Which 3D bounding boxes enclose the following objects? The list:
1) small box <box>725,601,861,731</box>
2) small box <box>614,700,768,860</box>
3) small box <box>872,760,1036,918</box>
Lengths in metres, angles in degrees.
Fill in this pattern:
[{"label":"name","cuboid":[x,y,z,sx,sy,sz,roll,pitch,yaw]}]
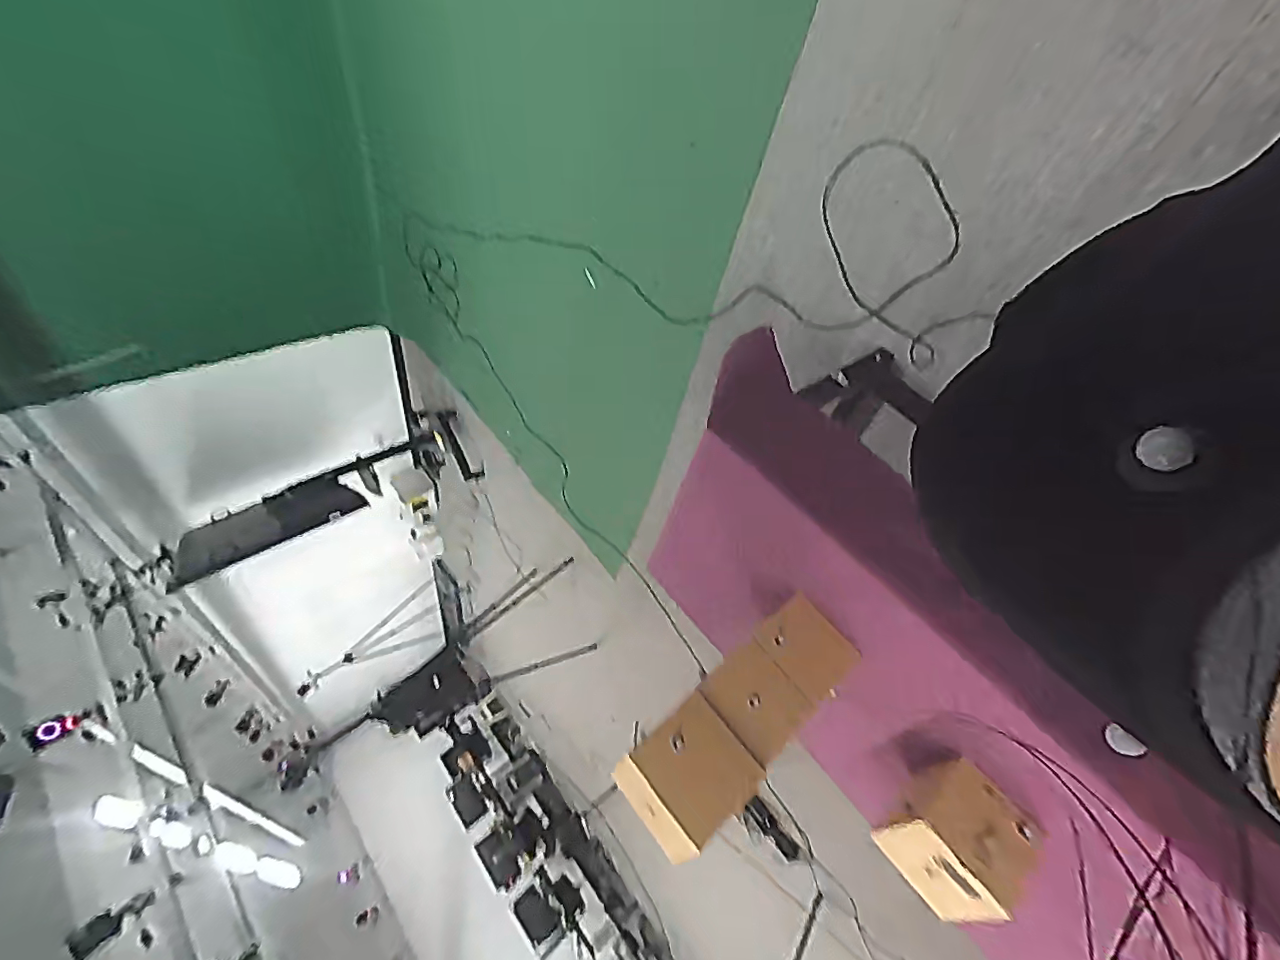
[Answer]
[{"label":"small box","cuboid":[0.317,0.378,1.127,0.179,0.176,0.168,47,145,22]},{"label":"small box","cuboid":[0.084,0.509,0.936,0.179,0.176,0.168,47,145,22]},{"label":"small box","cuboid":[0.568,0.640,0.975,0.168,0.176,0.179,47,145,23]}]
